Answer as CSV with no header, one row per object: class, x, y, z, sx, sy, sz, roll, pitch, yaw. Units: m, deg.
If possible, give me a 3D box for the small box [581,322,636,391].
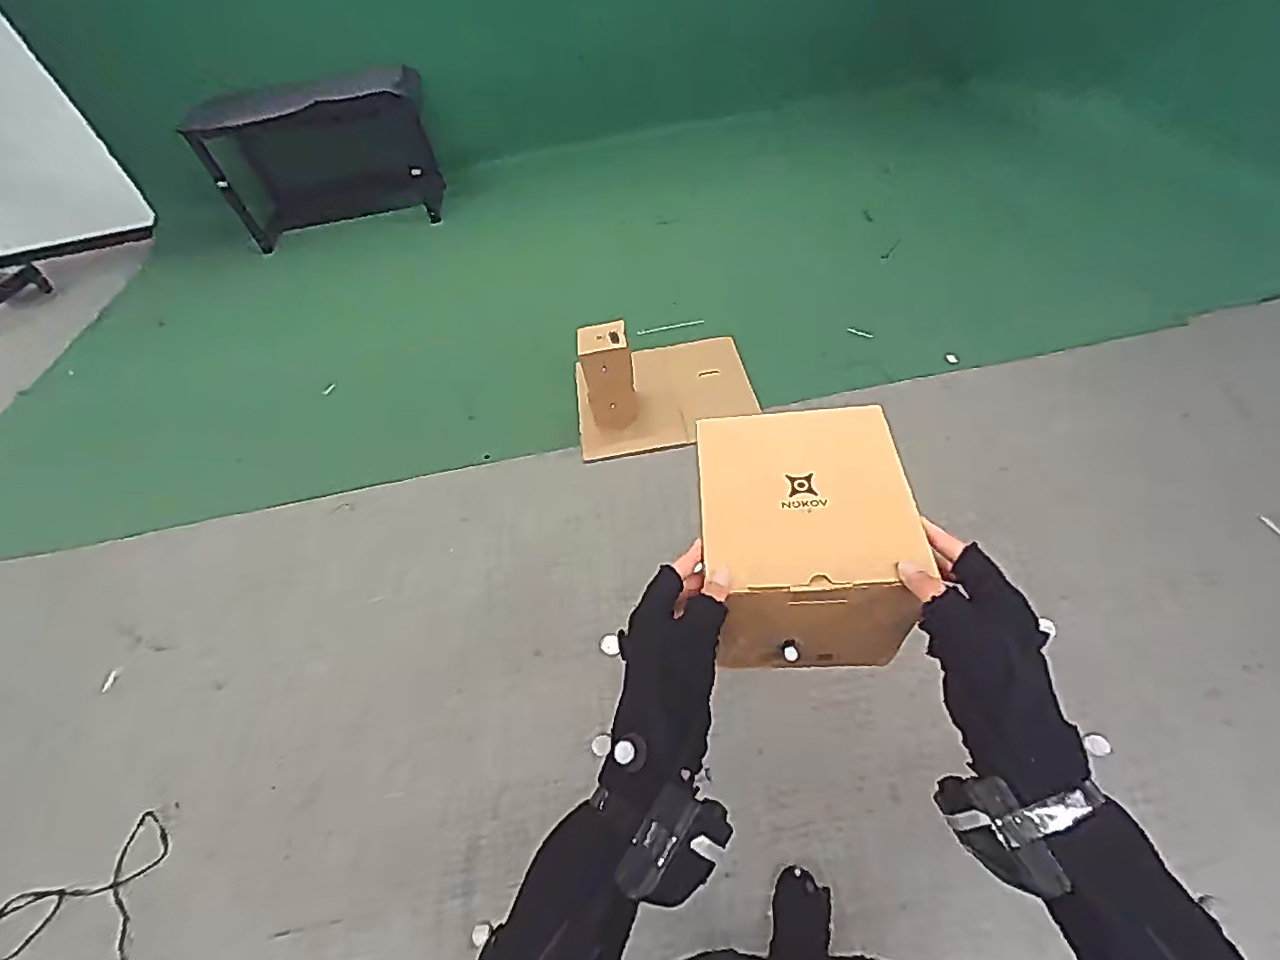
small box,-0.113,-0.451,1.986,0.179,0.176,0.168,-9,49,5
